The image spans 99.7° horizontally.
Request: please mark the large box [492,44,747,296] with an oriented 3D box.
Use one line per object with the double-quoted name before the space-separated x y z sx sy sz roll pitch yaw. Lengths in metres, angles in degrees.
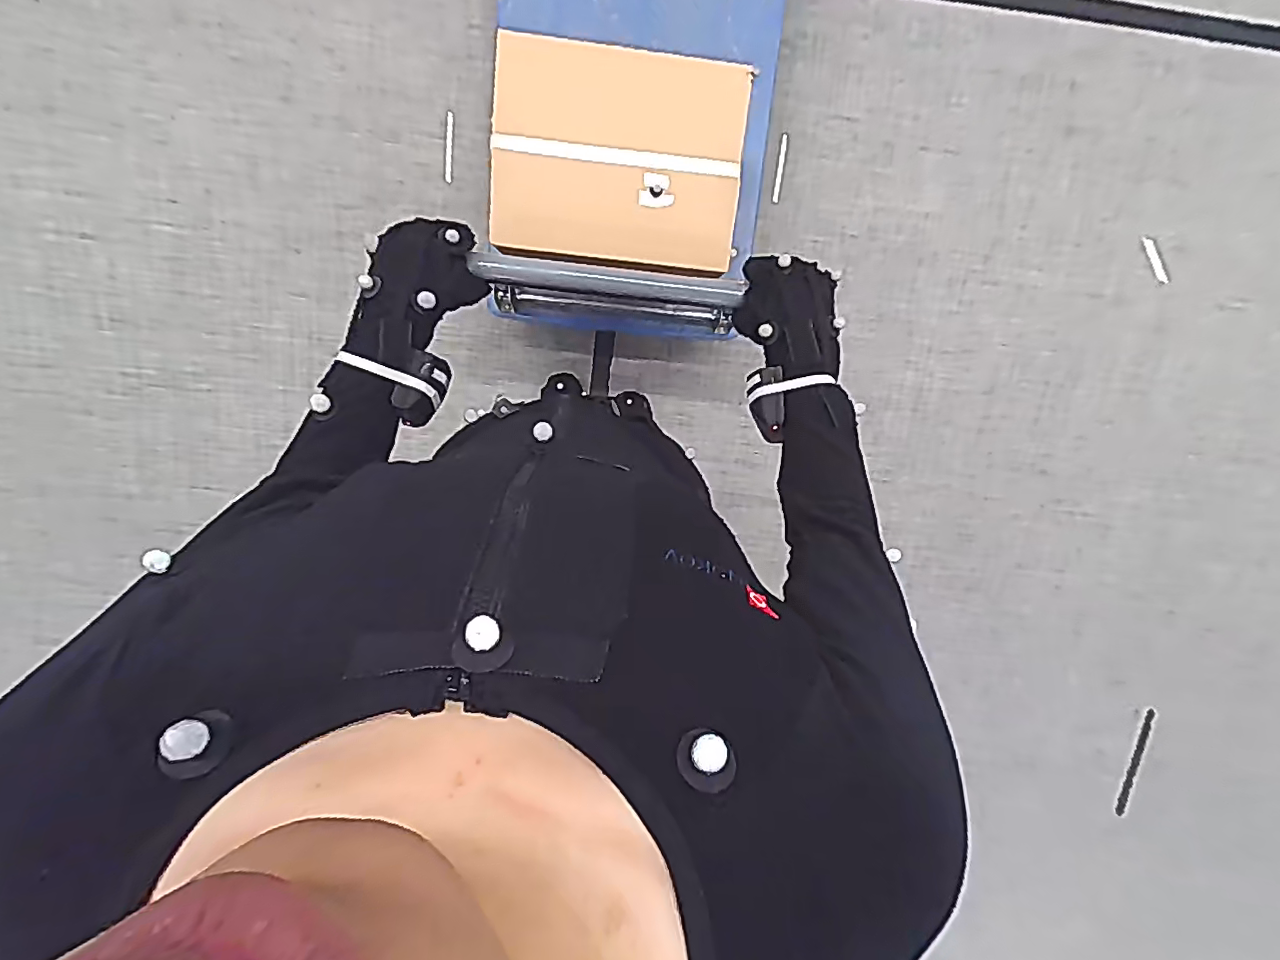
"large box" -0.048 -0.542 1.022 0.408 0.320 0.320 5 102 -5
